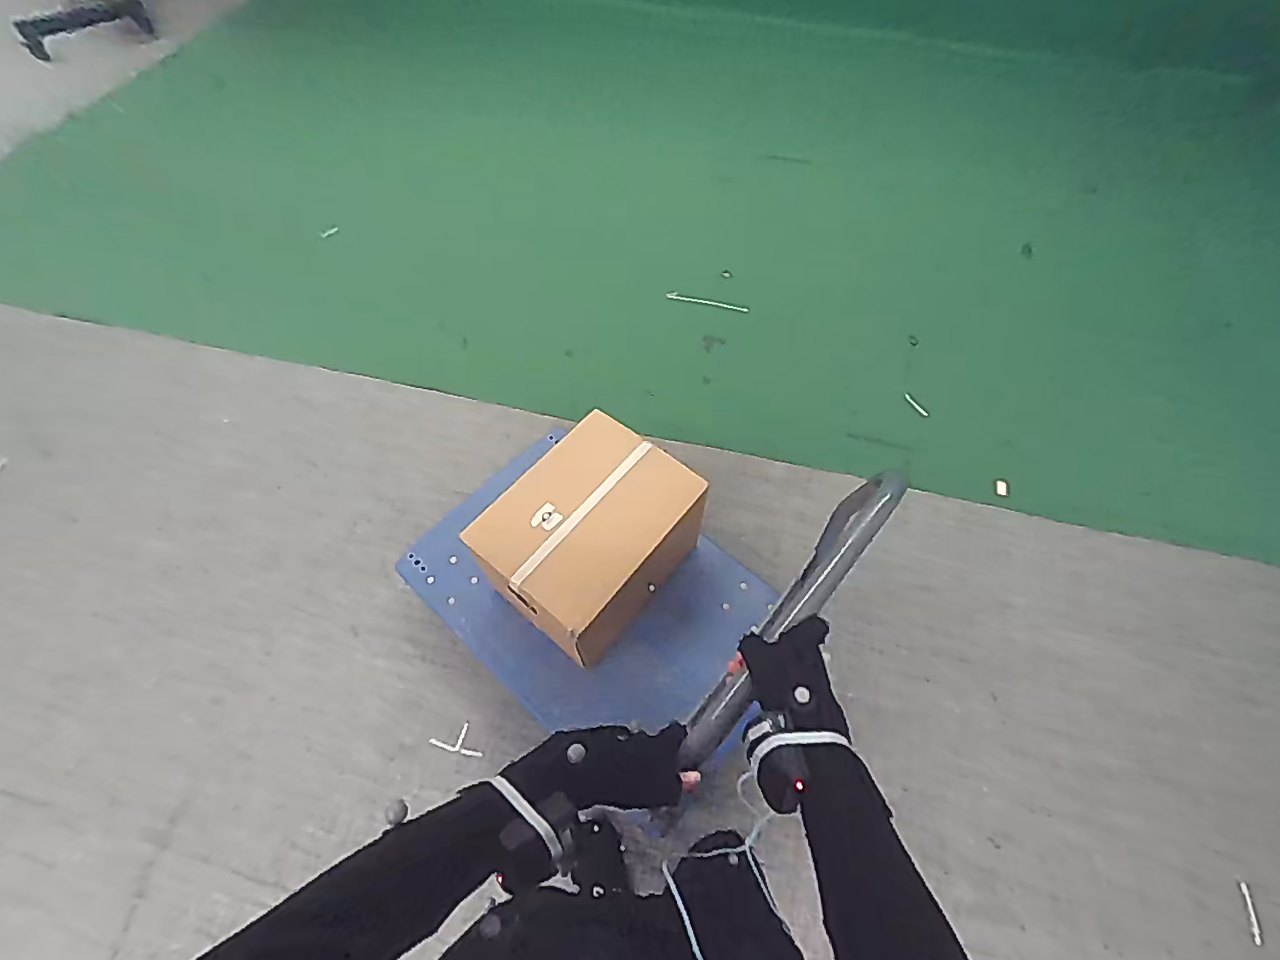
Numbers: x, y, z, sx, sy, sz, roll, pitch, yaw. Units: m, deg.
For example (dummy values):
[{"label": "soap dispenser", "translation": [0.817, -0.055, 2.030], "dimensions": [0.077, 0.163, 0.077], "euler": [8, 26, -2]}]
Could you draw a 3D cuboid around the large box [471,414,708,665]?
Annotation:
[{"label": "large box", "translation": [-0.094, 0.138, 1.218], "dimensions": [0.320, 0.320, 0.408], "euler": [34, 67, 19]}]
